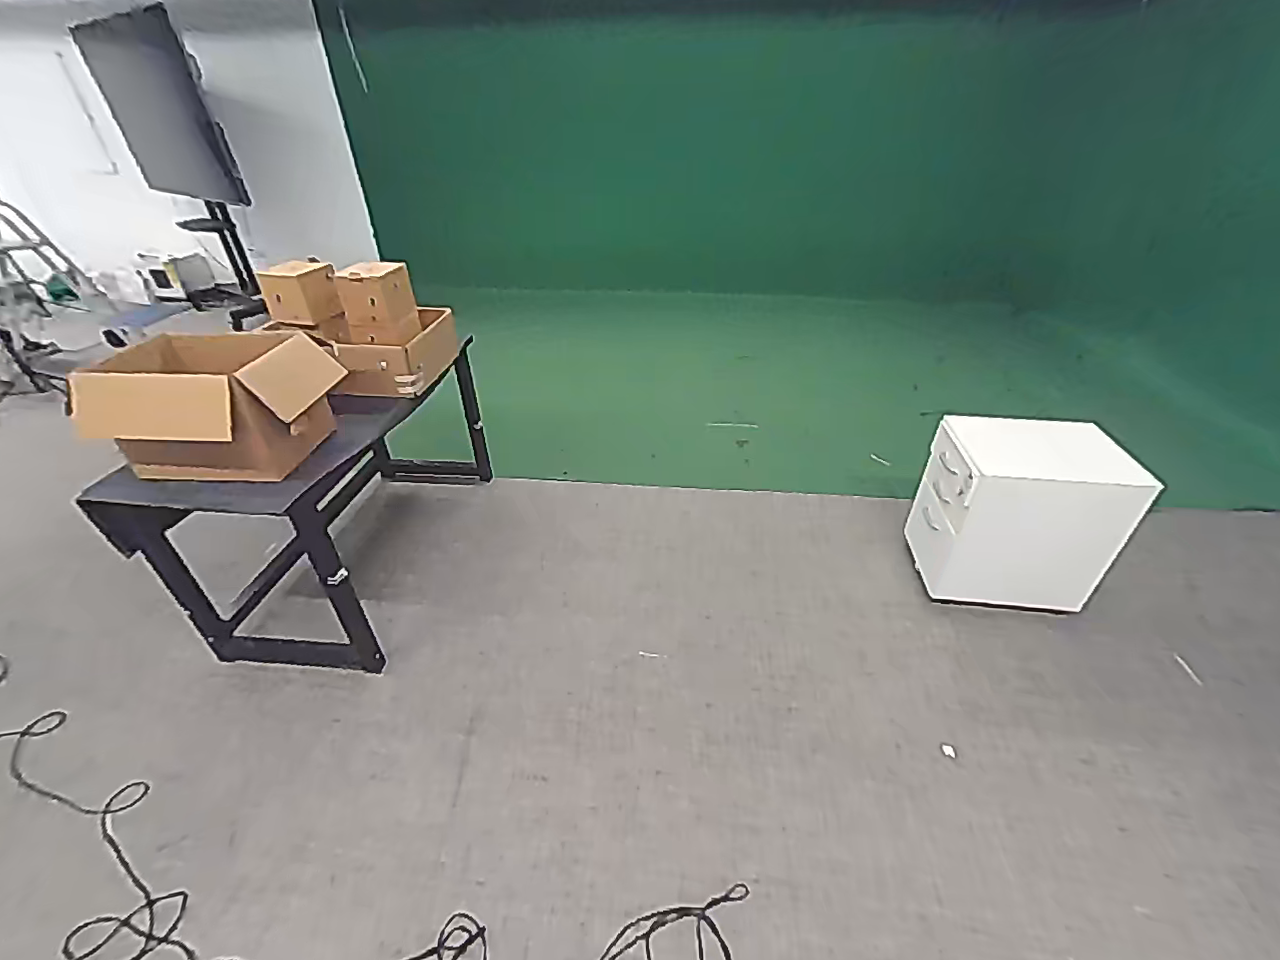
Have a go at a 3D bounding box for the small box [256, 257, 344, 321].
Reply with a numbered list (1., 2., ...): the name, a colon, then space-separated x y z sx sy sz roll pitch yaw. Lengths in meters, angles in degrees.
1. small box: -1.167 -0.662 1.876 0.168 0.176 0.179 9 36 11

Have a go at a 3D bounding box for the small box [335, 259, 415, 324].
1. small box: -0.898 -0.647 1.855 0.168 0.176 0.179 6 36 7
